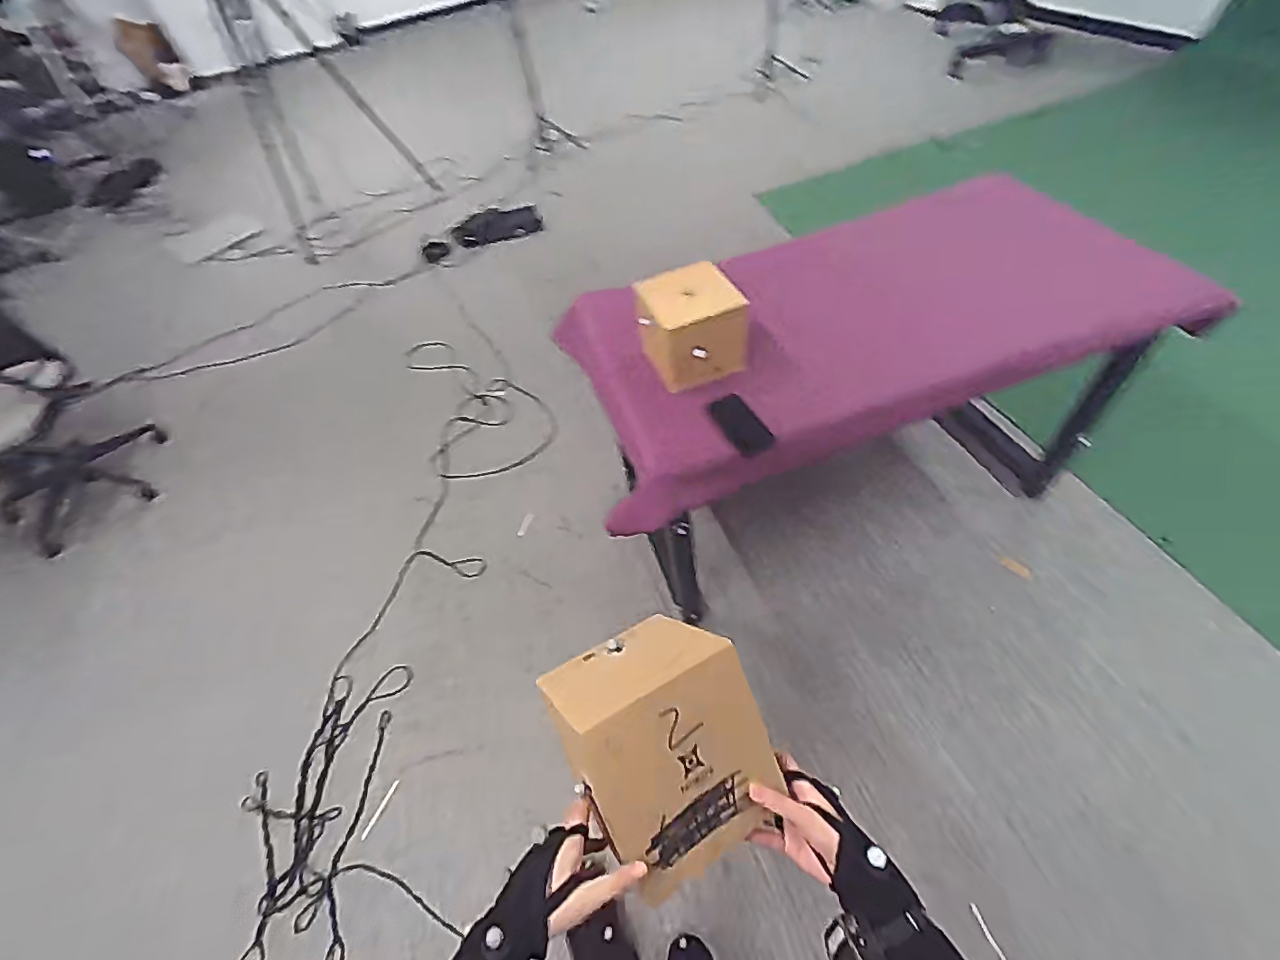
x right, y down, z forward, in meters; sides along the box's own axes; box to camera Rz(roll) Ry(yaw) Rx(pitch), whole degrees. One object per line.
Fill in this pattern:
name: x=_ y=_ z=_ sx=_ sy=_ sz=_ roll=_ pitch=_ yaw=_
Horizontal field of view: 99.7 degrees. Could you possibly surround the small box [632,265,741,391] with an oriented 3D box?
small box: x=0.099 y=-0.303 z=1.111 sx=0.168 sy=0.176 sz=0.179 roll=-21 pitch=50 yaw=-7
